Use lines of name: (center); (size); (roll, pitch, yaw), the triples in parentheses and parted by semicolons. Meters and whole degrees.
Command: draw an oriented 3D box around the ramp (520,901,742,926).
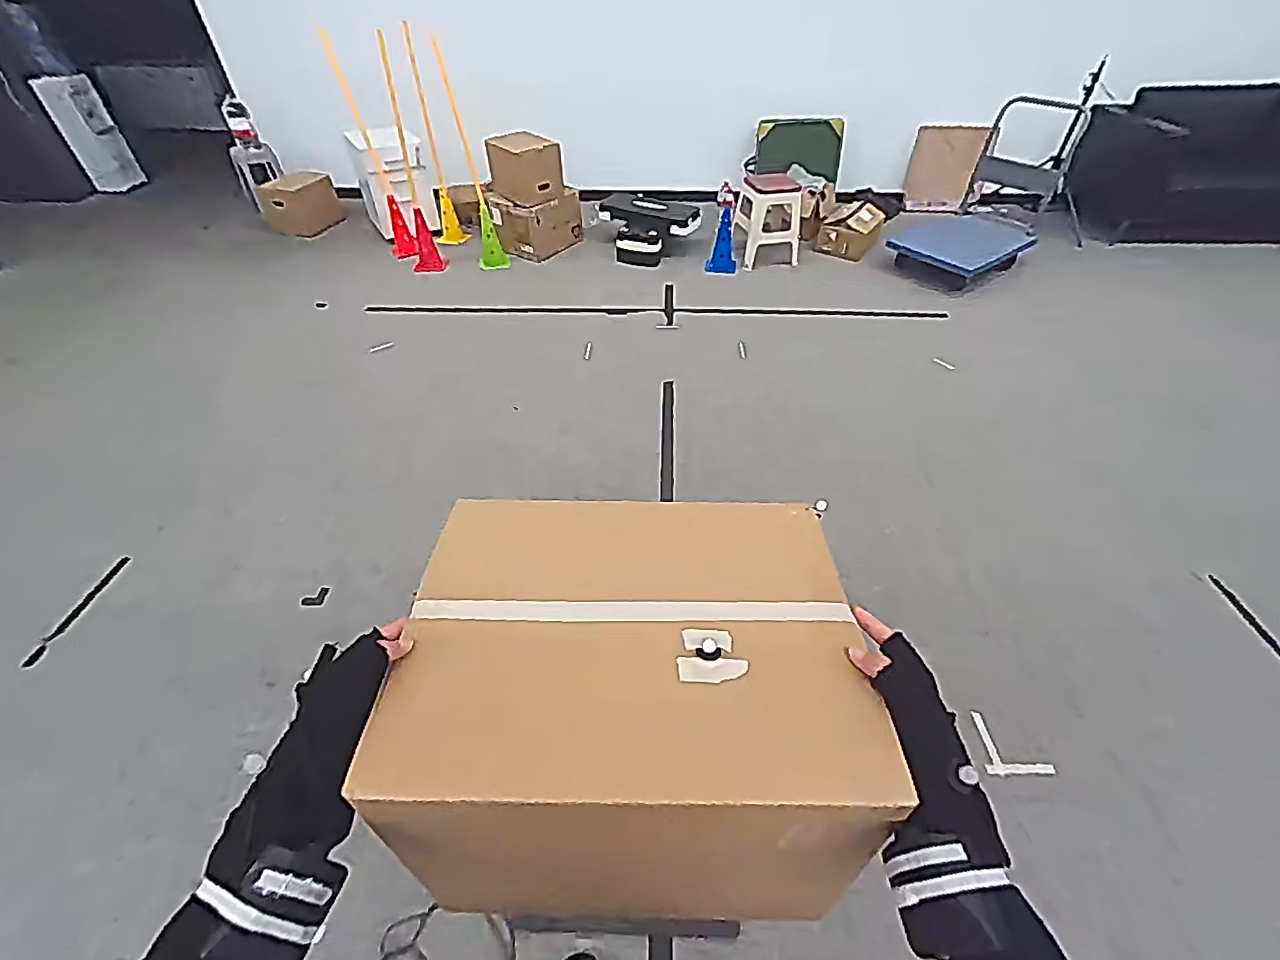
ramp: (-0.007, 0.550, 1.452); (0.509, 0.206, 0.991); (0, 45, -1)

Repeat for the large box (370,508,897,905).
large box: (-0.006, 0.245, 0.607); (0.408, 0.320, 0.320); (1, 40, 1)
